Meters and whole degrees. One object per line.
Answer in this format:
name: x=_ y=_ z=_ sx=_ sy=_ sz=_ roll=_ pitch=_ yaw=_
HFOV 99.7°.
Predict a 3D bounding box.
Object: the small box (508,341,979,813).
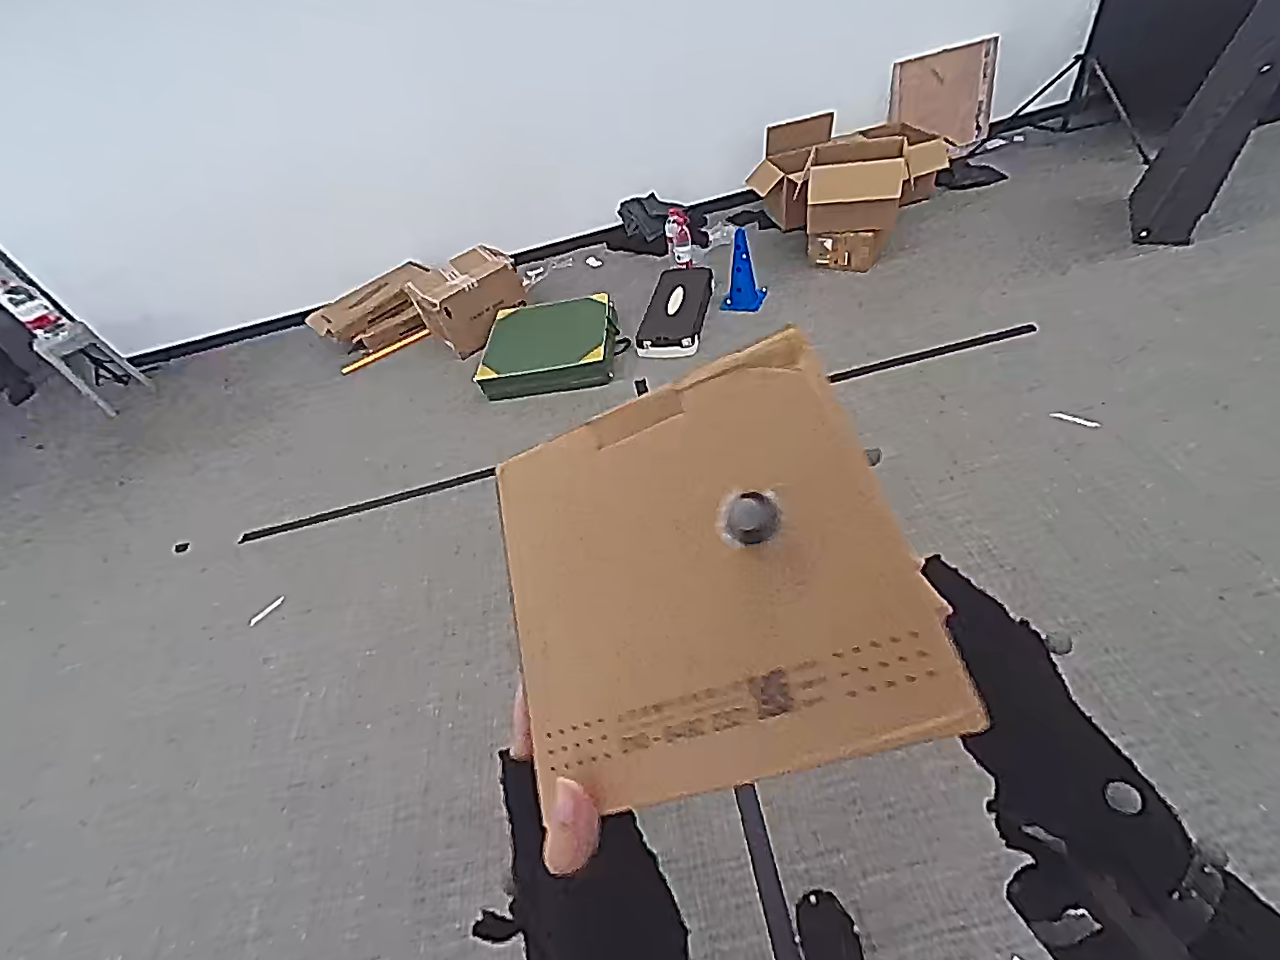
small box: x=0.056 y=0.064 z=0.298 sx=0.168 sy=0.179 sz=0.176 roll=-22 pitch=65 yaw=16
